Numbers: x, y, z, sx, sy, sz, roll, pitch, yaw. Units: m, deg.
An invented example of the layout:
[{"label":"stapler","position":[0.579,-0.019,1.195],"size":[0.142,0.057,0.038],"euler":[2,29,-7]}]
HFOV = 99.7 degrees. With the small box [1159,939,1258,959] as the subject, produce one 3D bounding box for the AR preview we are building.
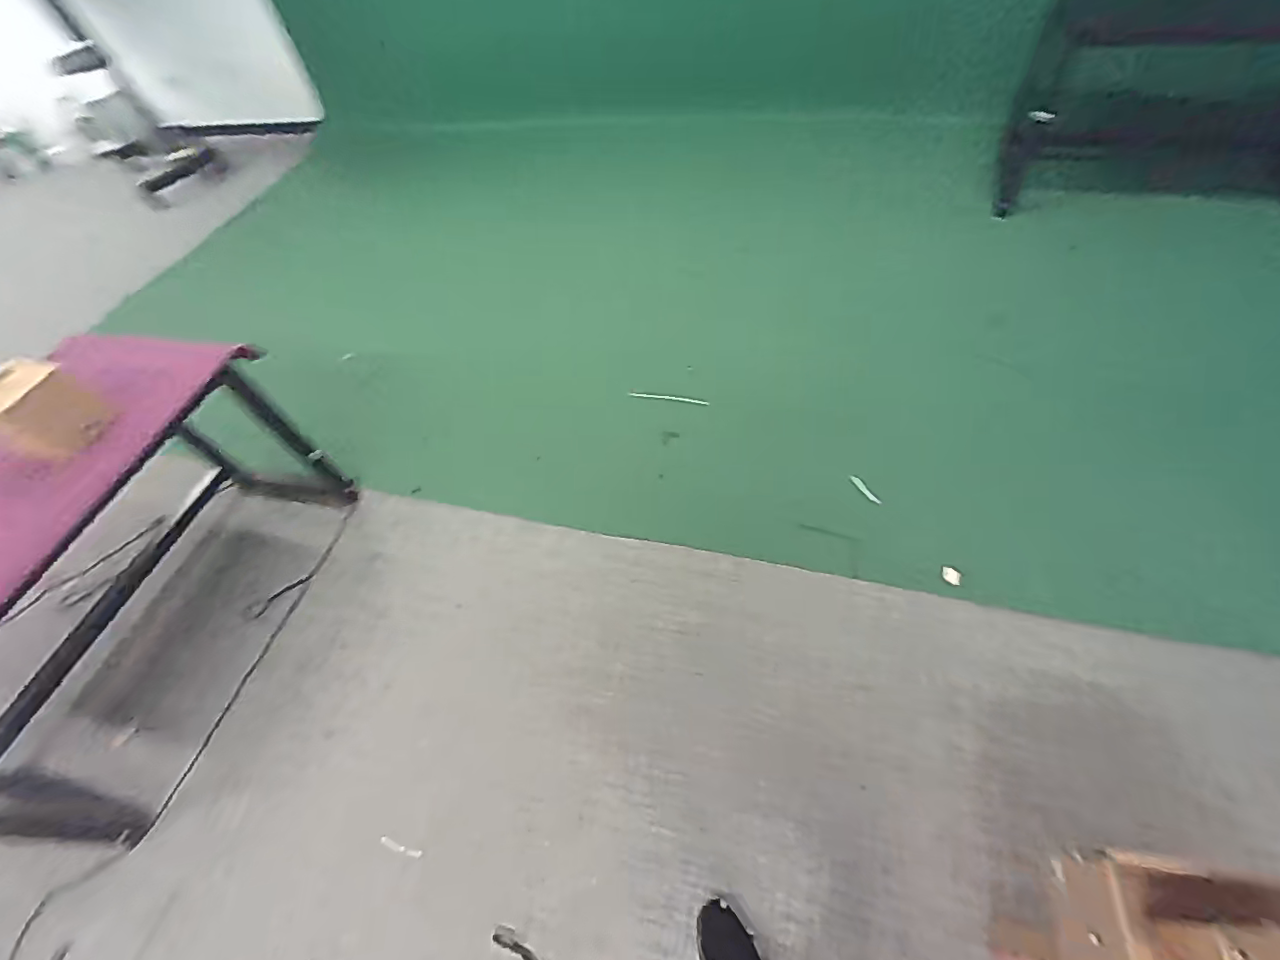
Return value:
[{"label":"small box","position":[0.840,0.724,0.705],"size":[0.179,0.176,0.168],"euler":[4,54,10]}]
